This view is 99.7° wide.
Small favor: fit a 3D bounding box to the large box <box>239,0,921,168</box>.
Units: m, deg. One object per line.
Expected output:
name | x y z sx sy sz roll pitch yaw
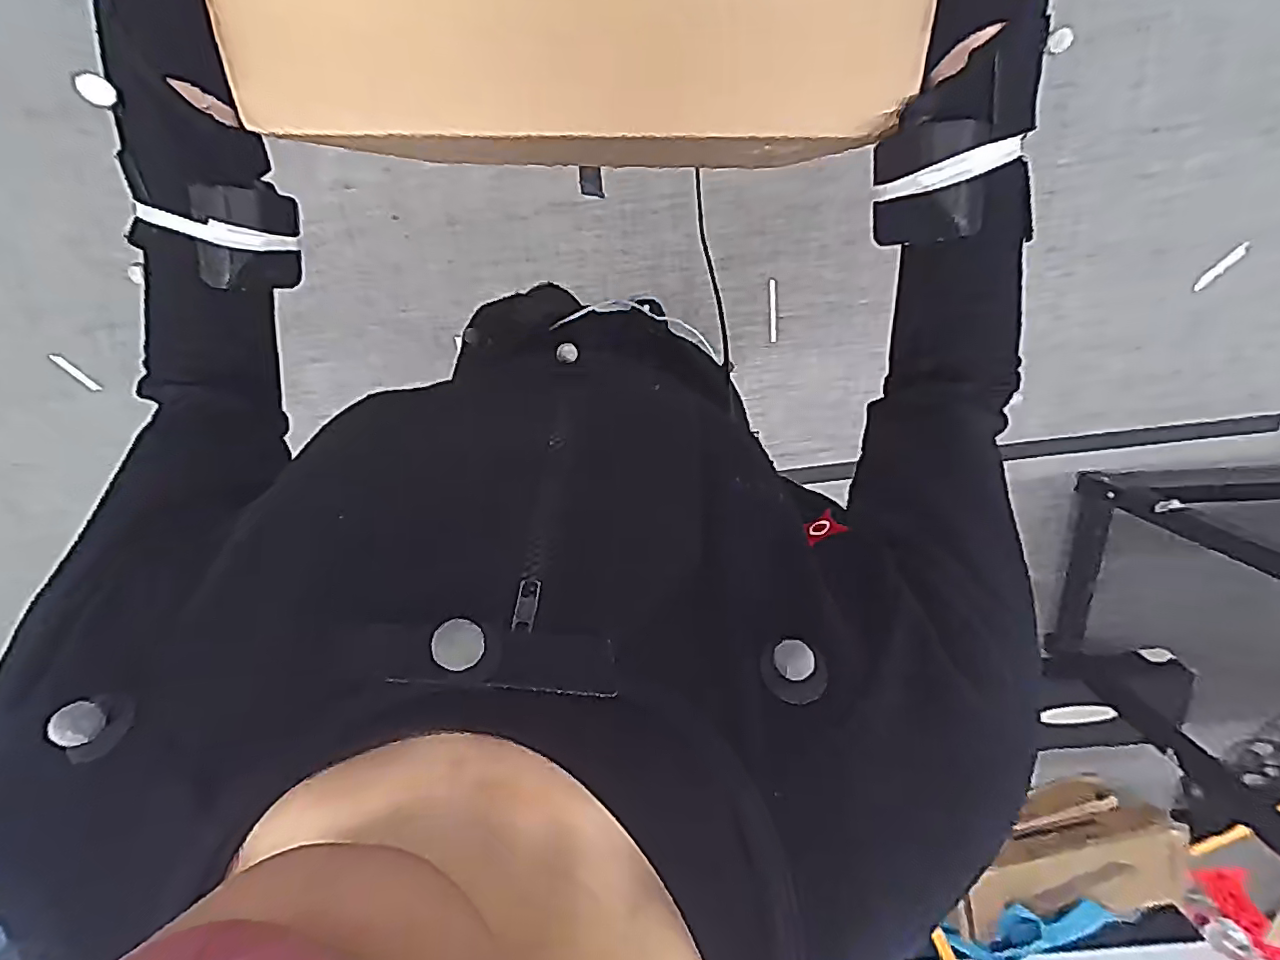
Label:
large box | -0.035 -0.422 0.405 0.408 0.320 0.320 1 119 0
